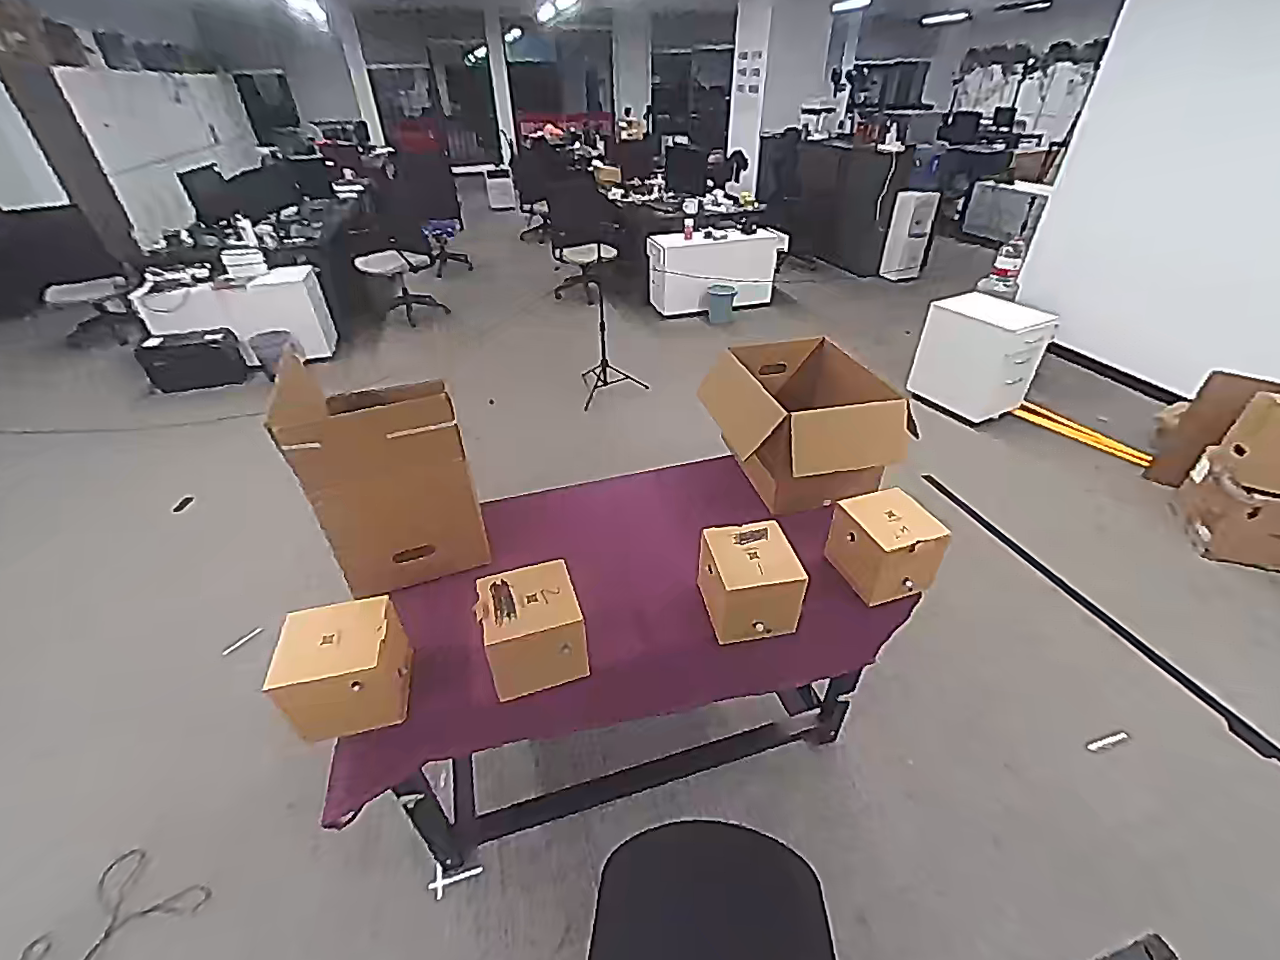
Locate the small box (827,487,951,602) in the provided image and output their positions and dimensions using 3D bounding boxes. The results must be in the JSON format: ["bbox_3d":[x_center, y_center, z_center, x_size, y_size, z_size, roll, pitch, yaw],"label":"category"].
[{"bbox_3d":[0.544,0.143,1.212,0.168,0.176,0.179,-12,38,-12],"label":"small box"}]

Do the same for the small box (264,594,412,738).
[{"bbox_3d":[-0.532,0.337,0.982,0.179,0.176,0.168,-9,37,-12],"label":"small box"}]

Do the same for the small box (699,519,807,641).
[{"bbox_3d":[0.226,0.208,1.135,0.168,0.176,0.179,-7,38,-8],"label":"small box"}]
